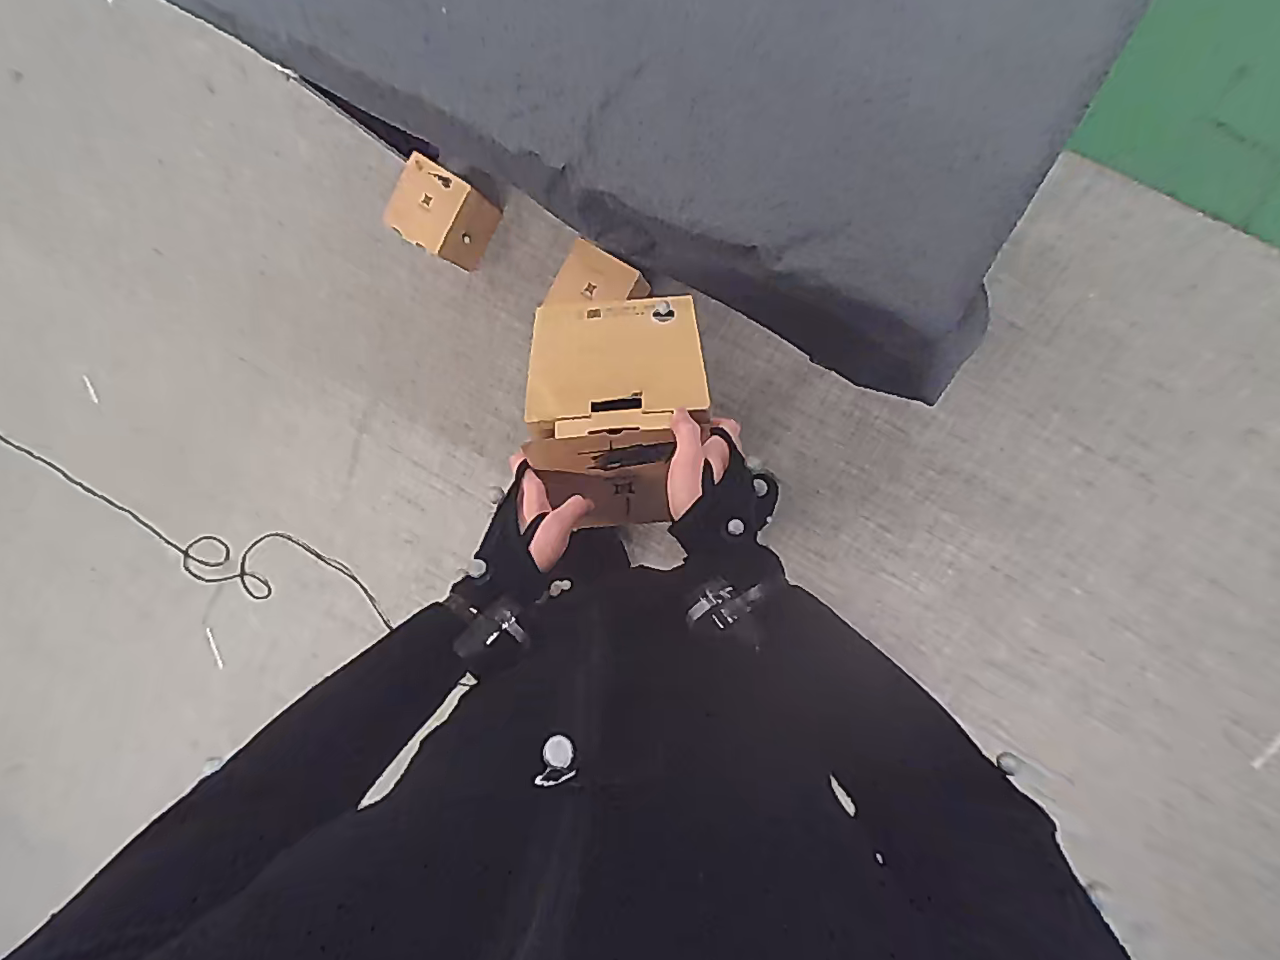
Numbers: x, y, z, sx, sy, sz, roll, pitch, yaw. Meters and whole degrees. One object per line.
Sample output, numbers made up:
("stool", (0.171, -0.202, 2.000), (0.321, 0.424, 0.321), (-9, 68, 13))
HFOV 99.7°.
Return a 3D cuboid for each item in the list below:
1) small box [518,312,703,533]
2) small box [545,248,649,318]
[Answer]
("small box", (-0.024, -0.064, 0.580), (0.168, 0.179, 0.176), (-4, 52, 3))
("small box", (-0.093, -0.410, 1.284), (0.168, 0.176, 0.179), (31, 100, 5))
